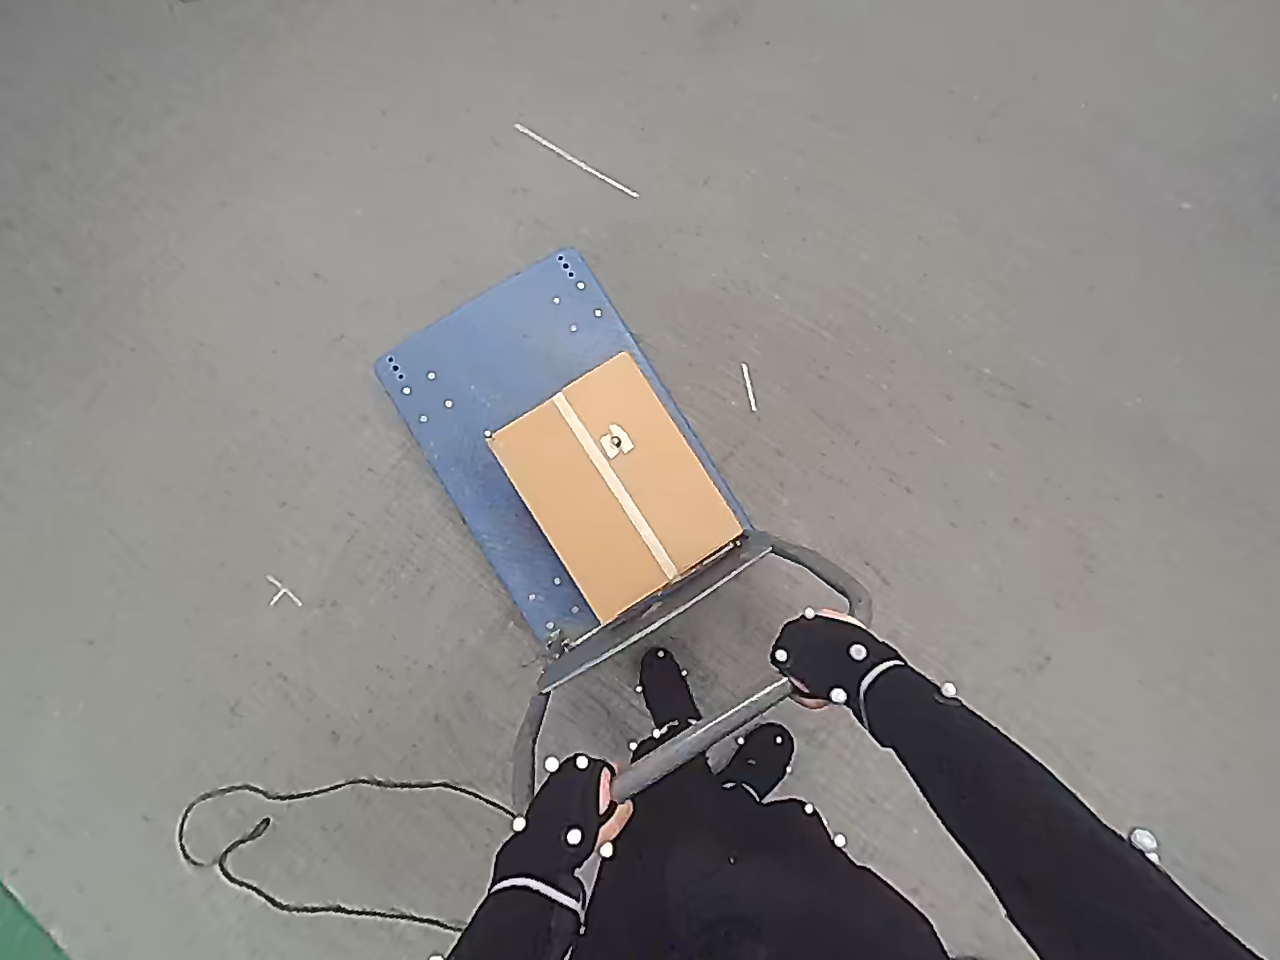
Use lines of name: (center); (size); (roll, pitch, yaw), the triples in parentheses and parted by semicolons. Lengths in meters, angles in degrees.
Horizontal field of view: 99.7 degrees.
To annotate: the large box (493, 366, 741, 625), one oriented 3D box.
large box: (-0.042, 0.036, 1.162); (0.320, 0.320, 0.408); (-33, 87, -3)
